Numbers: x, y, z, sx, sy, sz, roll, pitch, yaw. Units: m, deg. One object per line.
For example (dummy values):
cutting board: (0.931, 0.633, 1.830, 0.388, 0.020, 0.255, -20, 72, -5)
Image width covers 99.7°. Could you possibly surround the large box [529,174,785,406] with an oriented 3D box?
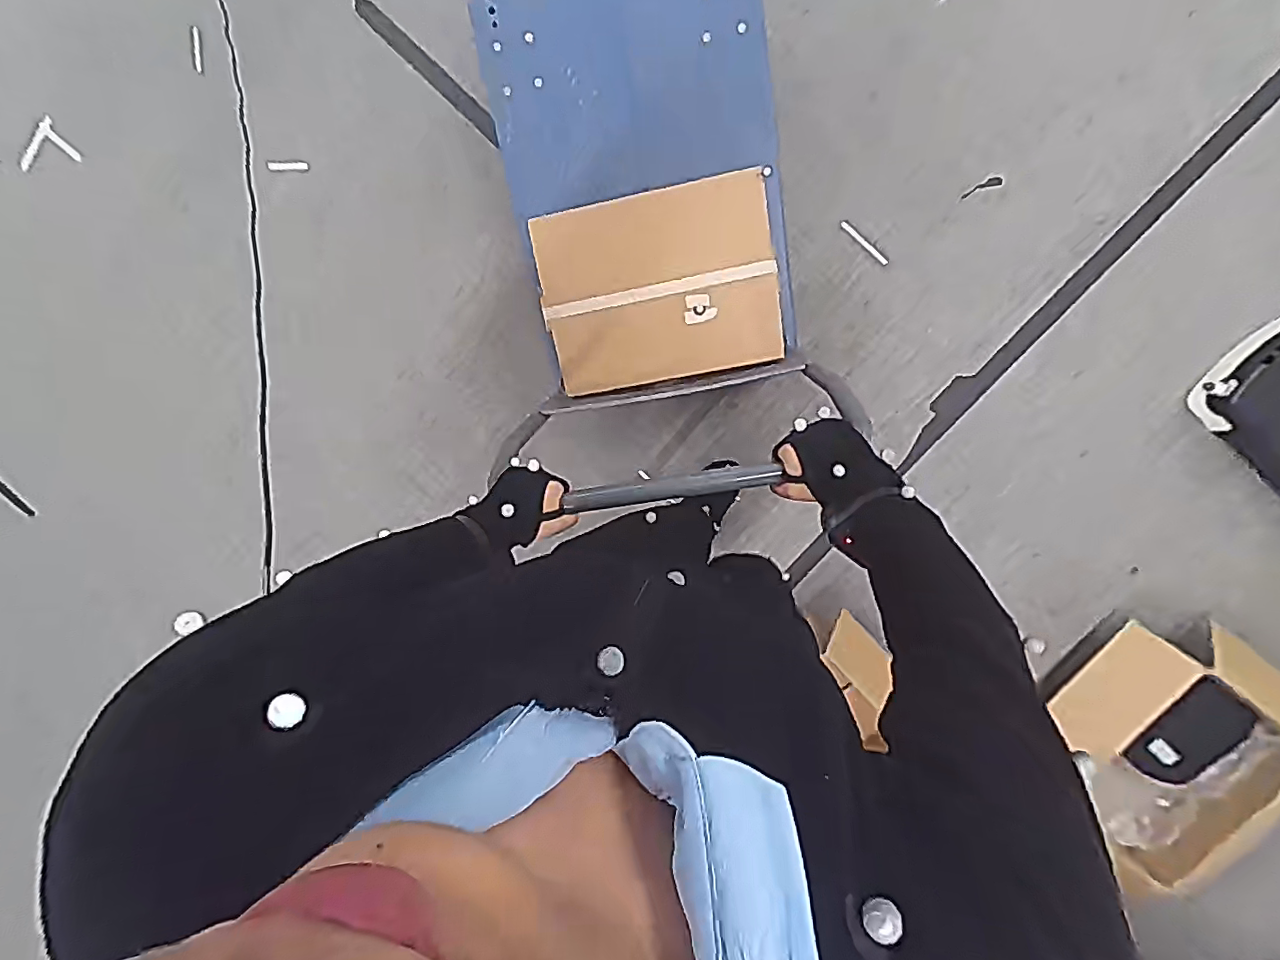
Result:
large box: (0.041, -0.354, 1.075, 0.408, 0.320, 0.320, -10, 106, 7)
